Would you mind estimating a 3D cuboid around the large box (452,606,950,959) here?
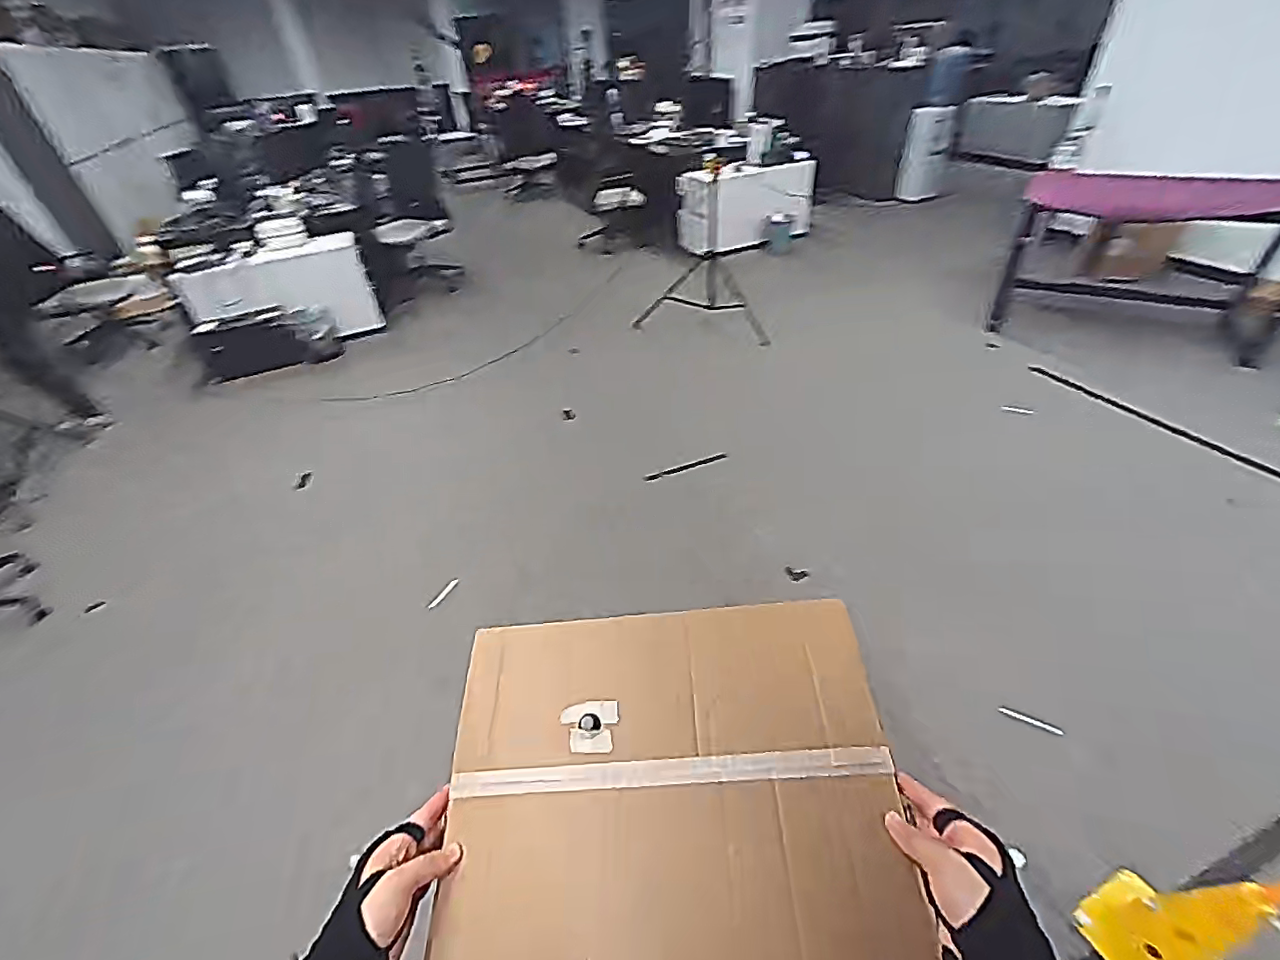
[{"bbox_3d":[0.060,0.370,0.623,0.408,0.320,0.320,-7,50,7],"label":"large box"}]
